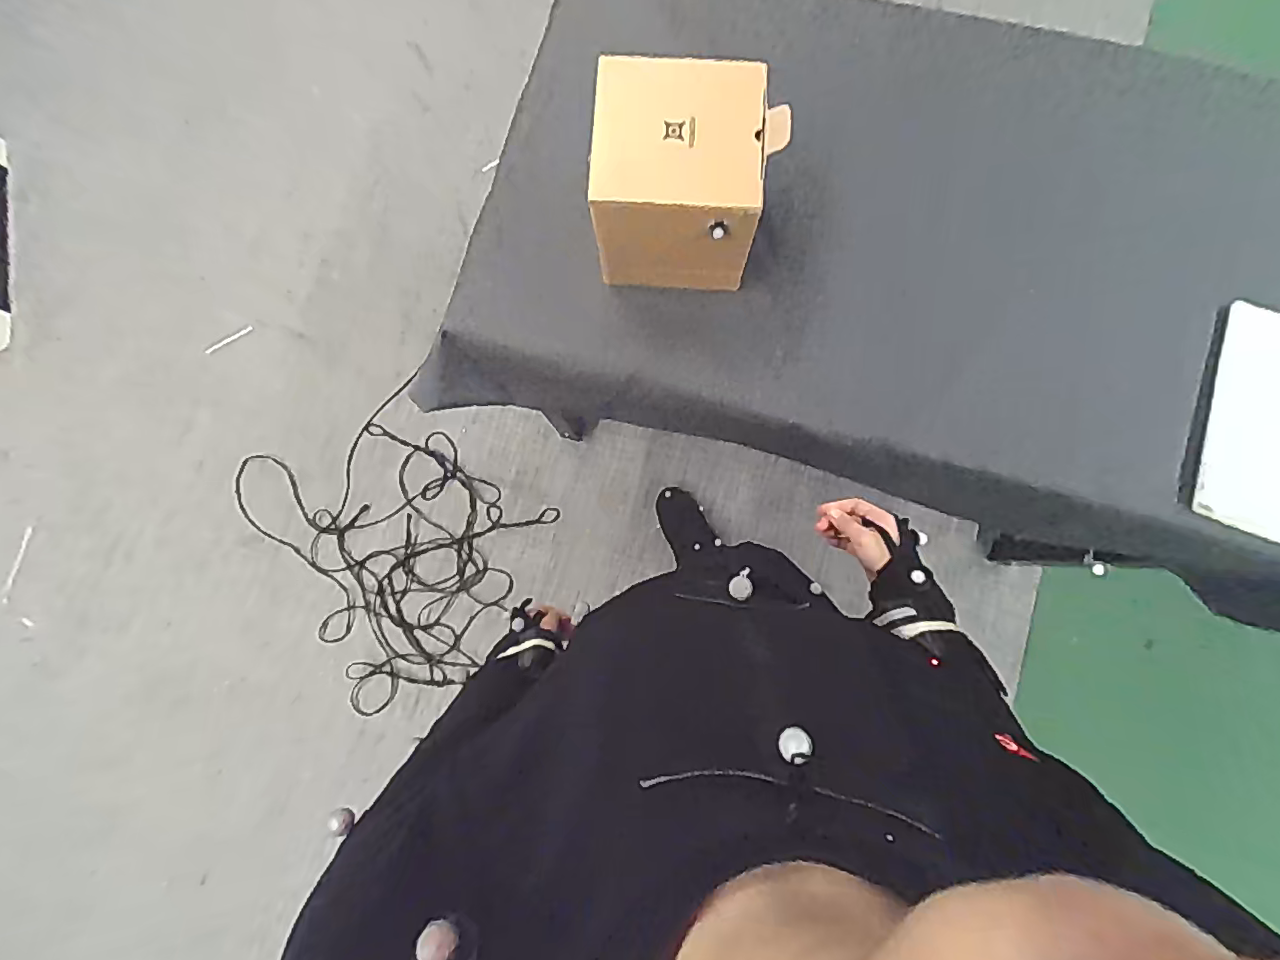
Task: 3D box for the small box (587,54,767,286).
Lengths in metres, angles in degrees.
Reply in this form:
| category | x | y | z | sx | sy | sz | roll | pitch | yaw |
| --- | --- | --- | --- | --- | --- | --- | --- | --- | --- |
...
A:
| category | x | y | z | sx | sy | sz | roll | pitch | yaw |
| --- | --- | --- | --- | --- | --- | --- | --- | --- | --- |
| small box | 0.040 | -0.340 | 0.620 | 0.179 | 0.176 | 0.168 | 3 | 82 | 1 |
